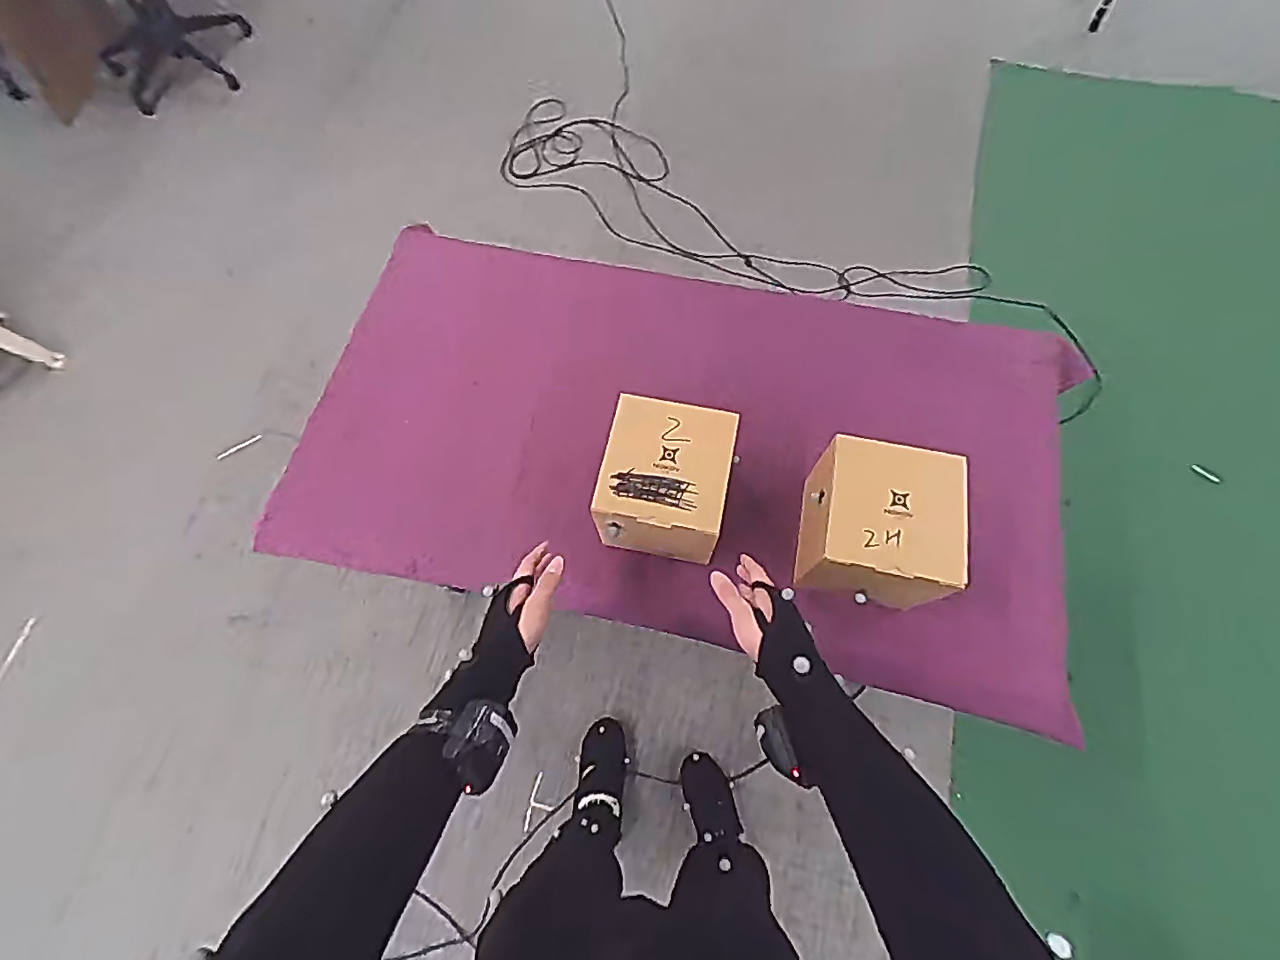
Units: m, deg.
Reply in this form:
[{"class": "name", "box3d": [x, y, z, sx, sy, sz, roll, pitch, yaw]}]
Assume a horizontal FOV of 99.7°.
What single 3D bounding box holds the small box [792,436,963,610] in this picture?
[{"class": "small box", "box3d": [0.317, 0.066, 0.747, 0.168, 0.176, 0.179, 12, 69, 7]}]
